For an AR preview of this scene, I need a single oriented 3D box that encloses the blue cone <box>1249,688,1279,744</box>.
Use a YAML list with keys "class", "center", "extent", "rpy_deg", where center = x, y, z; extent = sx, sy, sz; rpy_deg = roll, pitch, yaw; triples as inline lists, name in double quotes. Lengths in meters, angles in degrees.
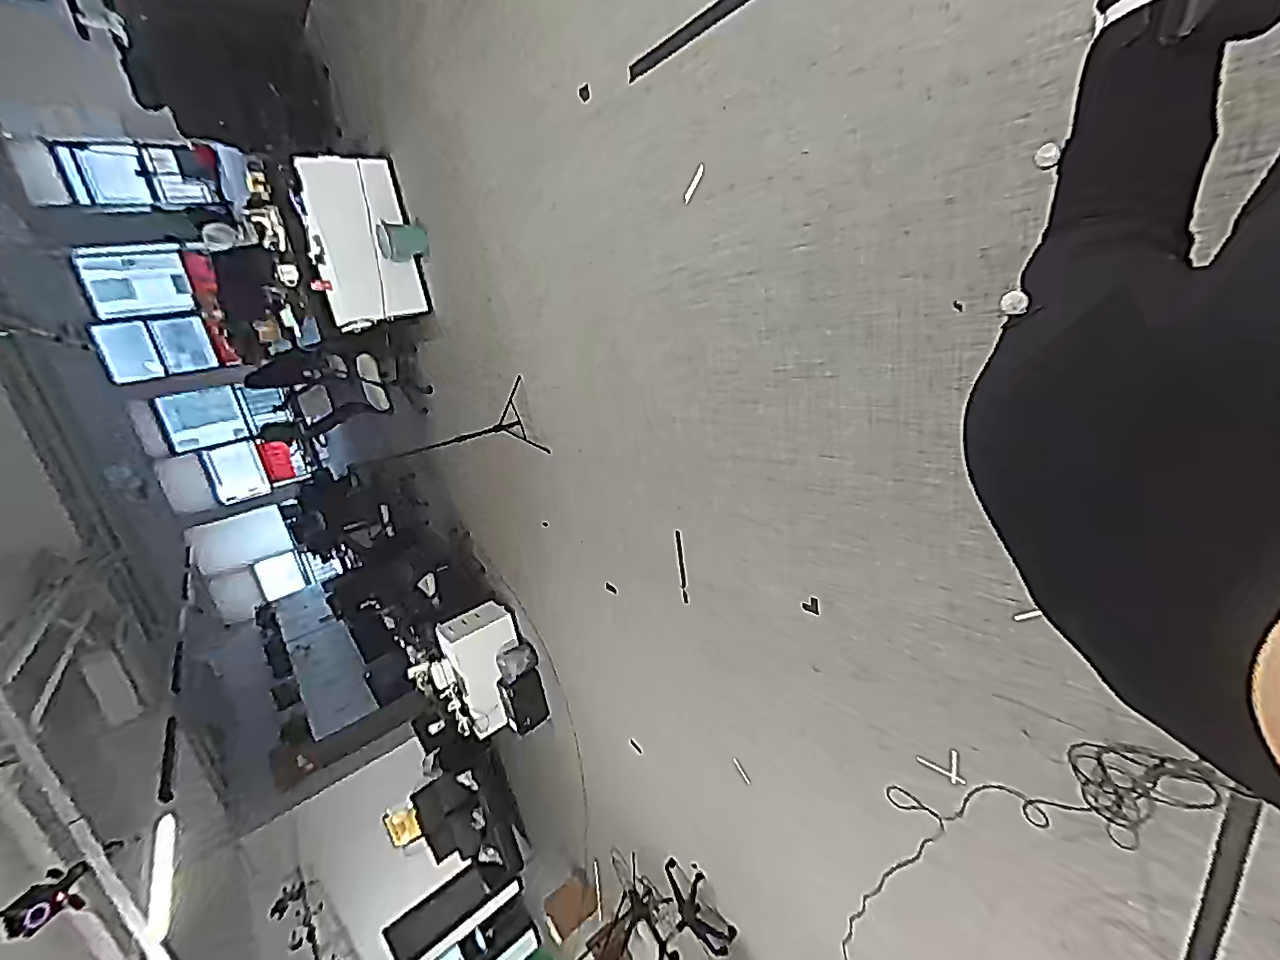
- class: "blue cone"
  center: [1.258, 0.544, 0.983]
  extent: [0.193, 0.380, 0.192]
  rpy_deg: [37, 135, 37]
